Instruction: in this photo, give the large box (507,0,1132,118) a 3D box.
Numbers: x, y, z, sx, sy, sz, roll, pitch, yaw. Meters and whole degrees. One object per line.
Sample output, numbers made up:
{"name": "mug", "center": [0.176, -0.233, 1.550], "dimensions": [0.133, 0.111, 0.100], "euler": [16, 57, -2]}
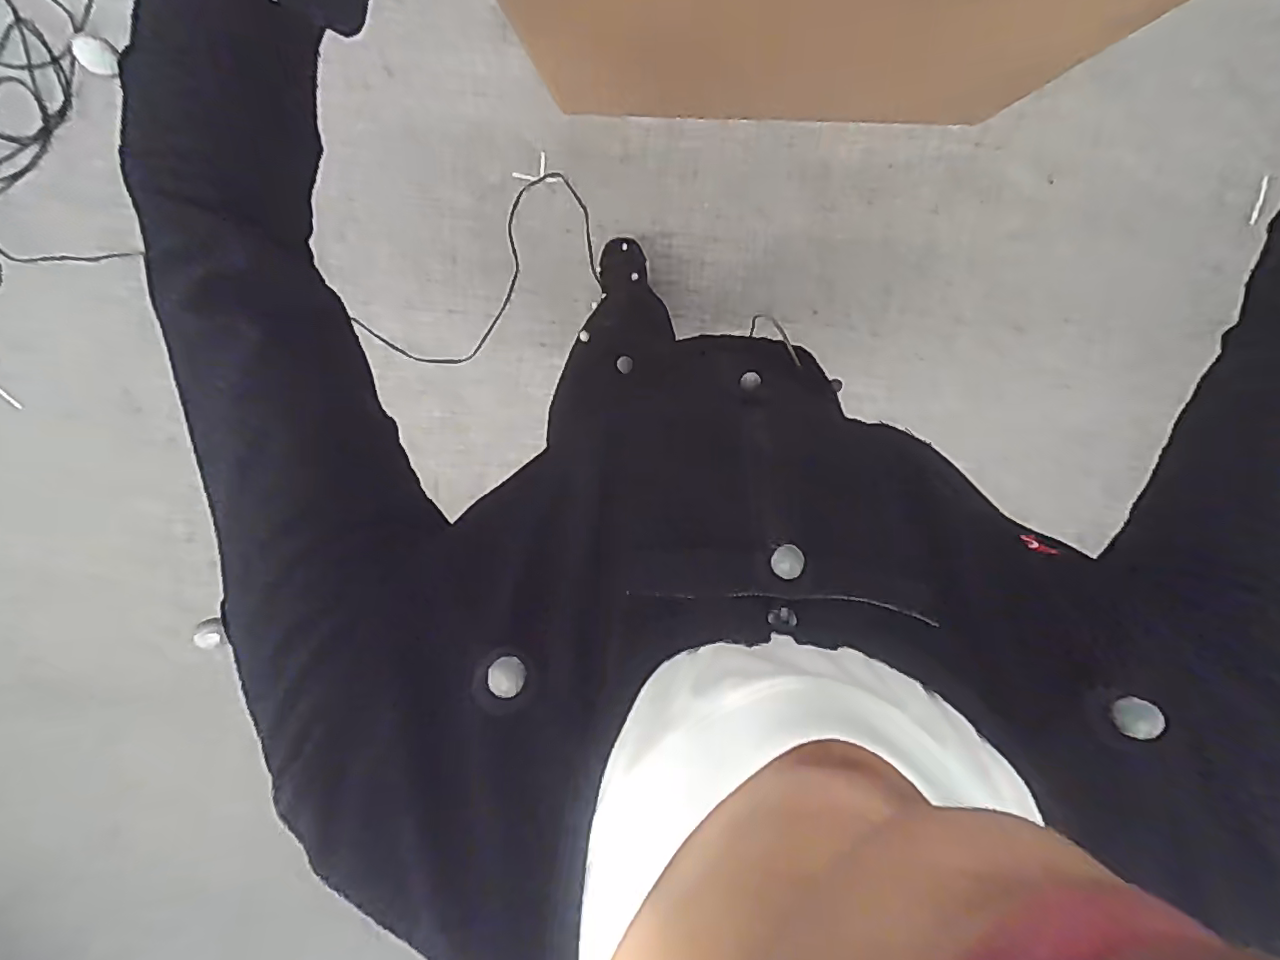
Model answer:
{"name": "large box", "center": [0.114, -0.454, 0.336], "dimensions": [0.408, 0.320, 0.320], "euler": [2, 108, 3]}
